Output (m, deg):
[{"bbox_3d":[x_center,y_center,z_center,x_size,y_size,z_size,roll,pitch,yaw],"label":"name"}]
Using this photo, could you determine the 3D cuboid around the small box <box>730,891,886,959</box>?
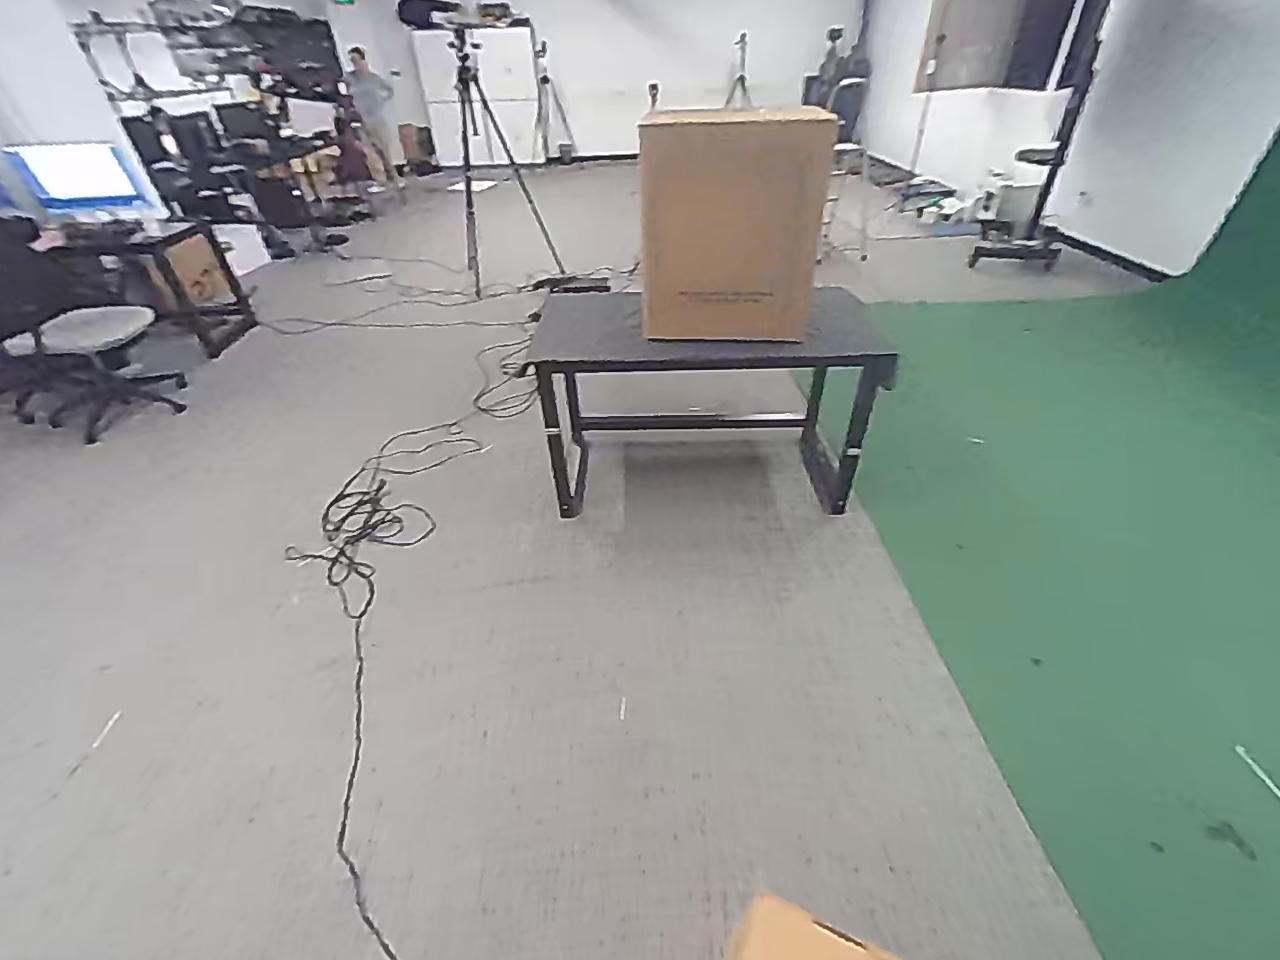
[{"bbox_3d":[0.108,0.379,0.291,0.168,0.176,0.179,18,45,20],"label":"small box"}]
